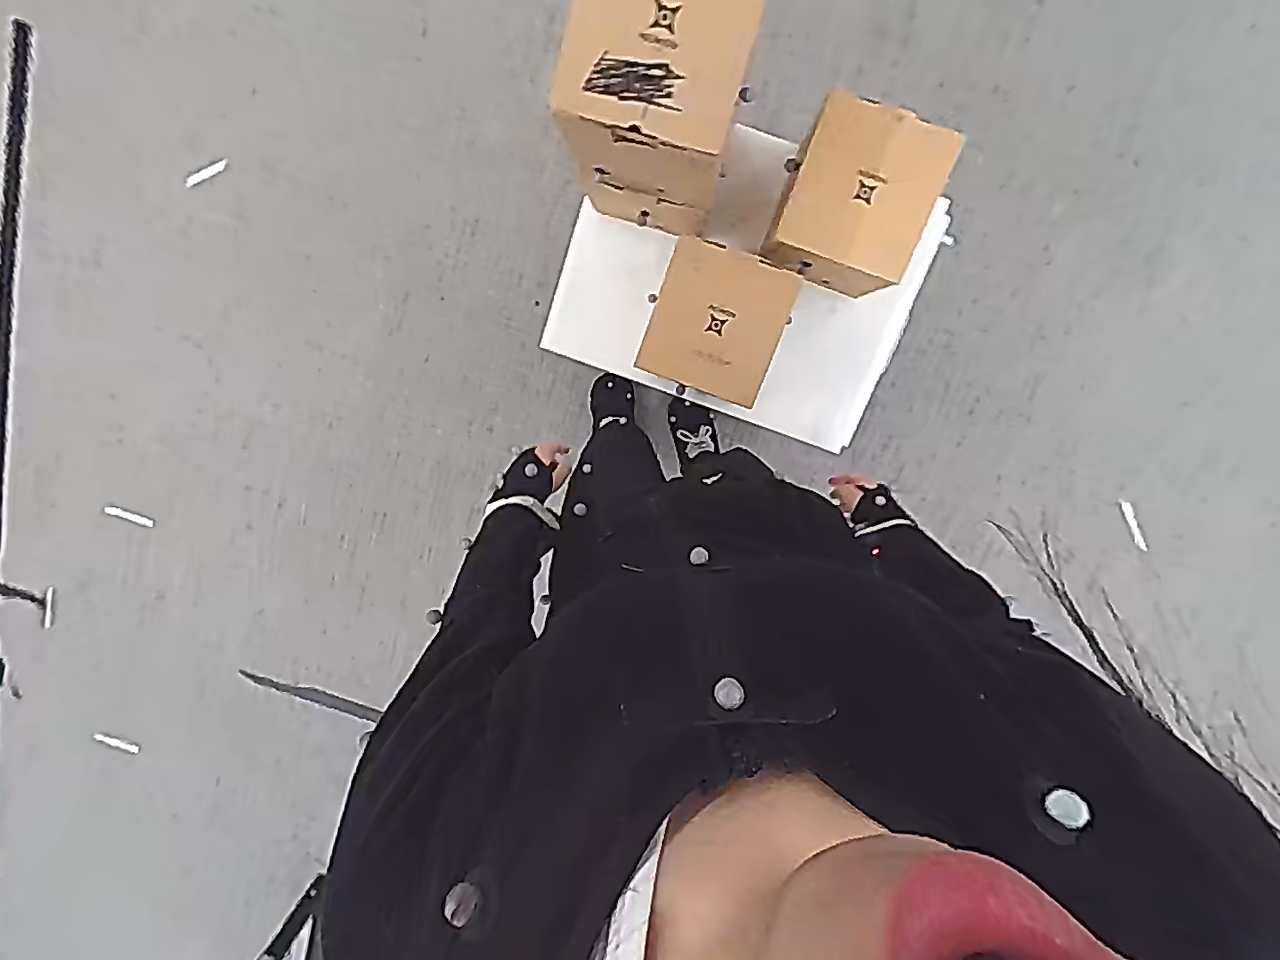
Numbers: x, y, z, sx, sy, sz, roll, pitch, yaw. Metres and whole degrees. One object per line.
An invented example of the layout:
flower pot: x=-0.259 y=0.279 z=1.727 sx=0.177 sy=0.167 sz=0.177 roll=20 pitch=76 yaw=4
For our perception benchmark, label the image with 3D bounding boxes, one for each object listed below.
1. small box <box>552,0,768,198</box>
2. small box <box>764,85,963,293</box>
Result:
small box: x=0.026 y=-0.417 z=0.552 sx=0.168 sy=0.176 sz=0.179 roll=17 pitch=102 yaw=0
small box: x=0.275 y=-0.364 z=0.716 sx=0.168 sy=0.176 sz=0.179 roll=20 pitch=103 yaw=0
